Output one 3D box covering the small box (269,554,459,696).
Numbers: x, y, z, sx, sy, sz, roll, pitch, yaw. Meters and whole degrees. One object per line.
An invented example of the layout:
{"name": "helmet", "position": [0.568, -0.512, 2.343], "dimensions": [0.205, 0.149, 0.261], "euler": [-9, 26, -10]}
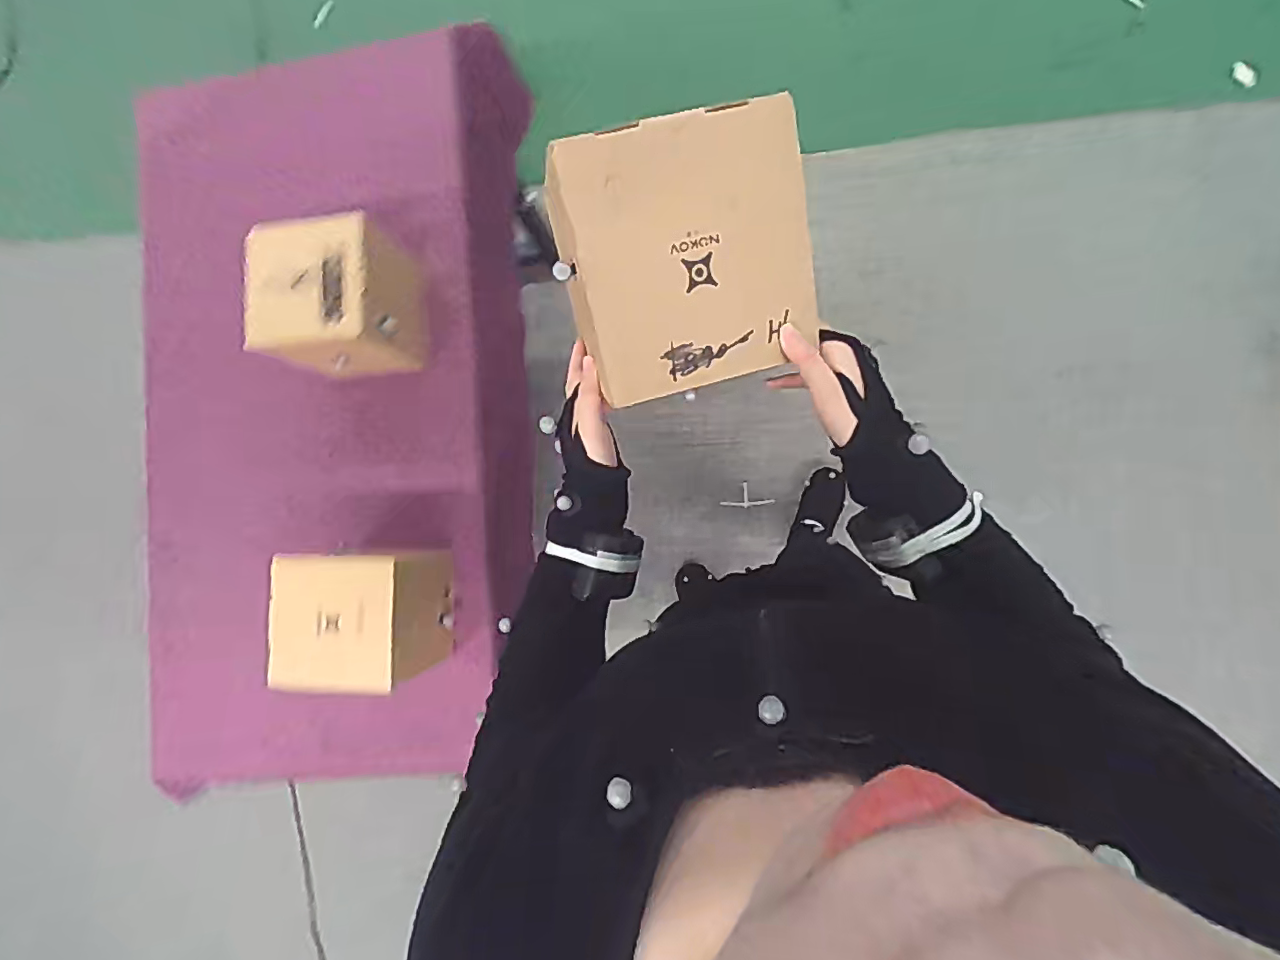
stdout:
{"name": "small box", "position": [-0.381, 0.195, 0.769], "dimensions": [0.179, 0.176, 0.168], "euler": [-1, 86, 8]}
